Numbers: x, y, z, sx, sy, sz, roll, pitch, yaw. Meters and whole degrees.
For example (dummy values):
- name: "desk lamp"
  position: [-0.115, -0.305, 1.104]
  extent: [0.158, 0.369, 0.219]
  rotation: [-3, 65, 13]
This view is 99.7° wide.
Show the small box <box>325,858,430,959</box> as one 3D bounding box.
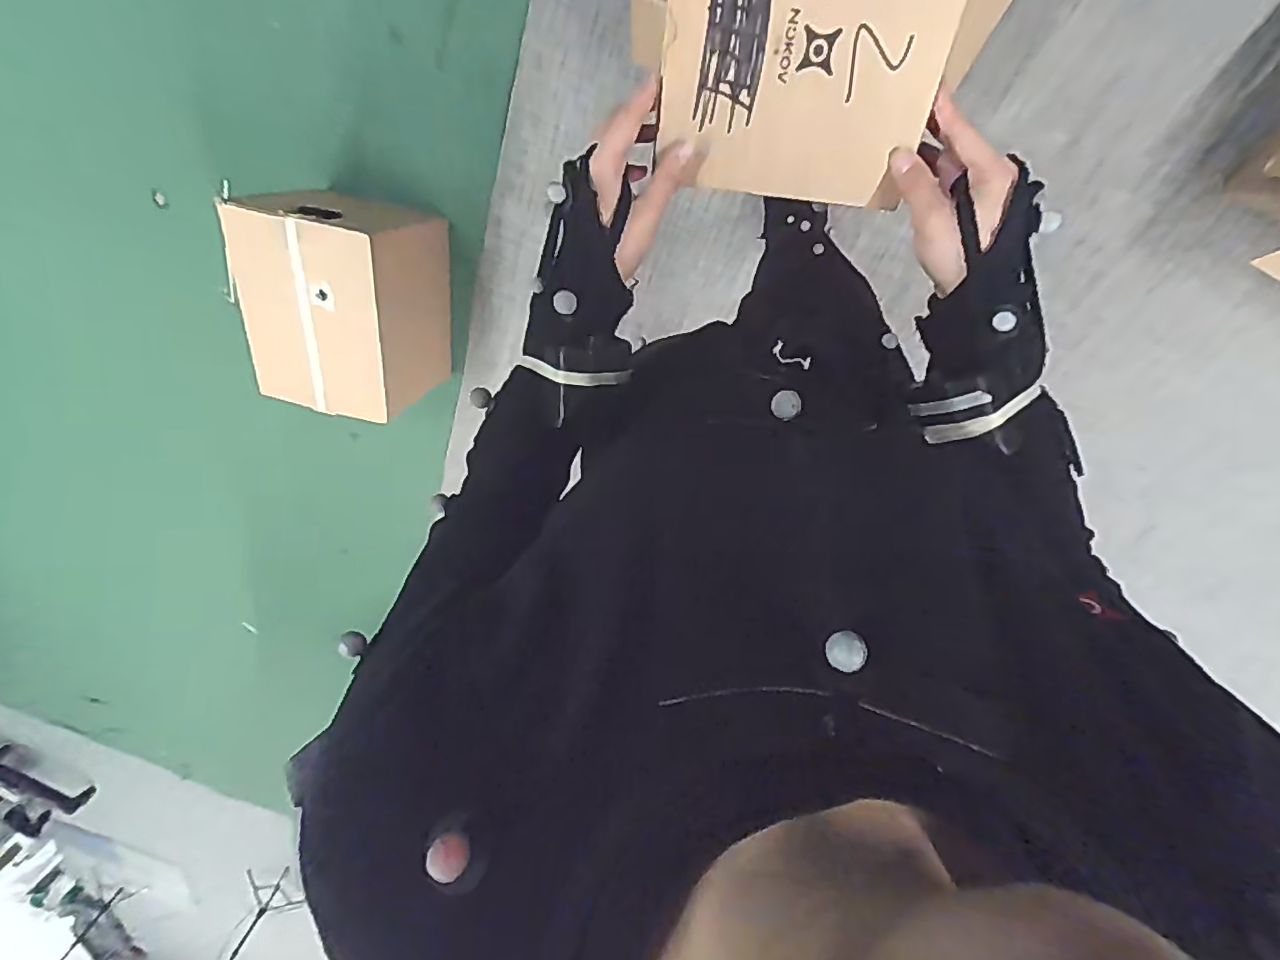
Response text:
- name: "small box"
  position: [-0.660, 1.098, 1.369]
  extent: [0.179, 0.176, 0.168]
  rotation: [25, 123, -3]
